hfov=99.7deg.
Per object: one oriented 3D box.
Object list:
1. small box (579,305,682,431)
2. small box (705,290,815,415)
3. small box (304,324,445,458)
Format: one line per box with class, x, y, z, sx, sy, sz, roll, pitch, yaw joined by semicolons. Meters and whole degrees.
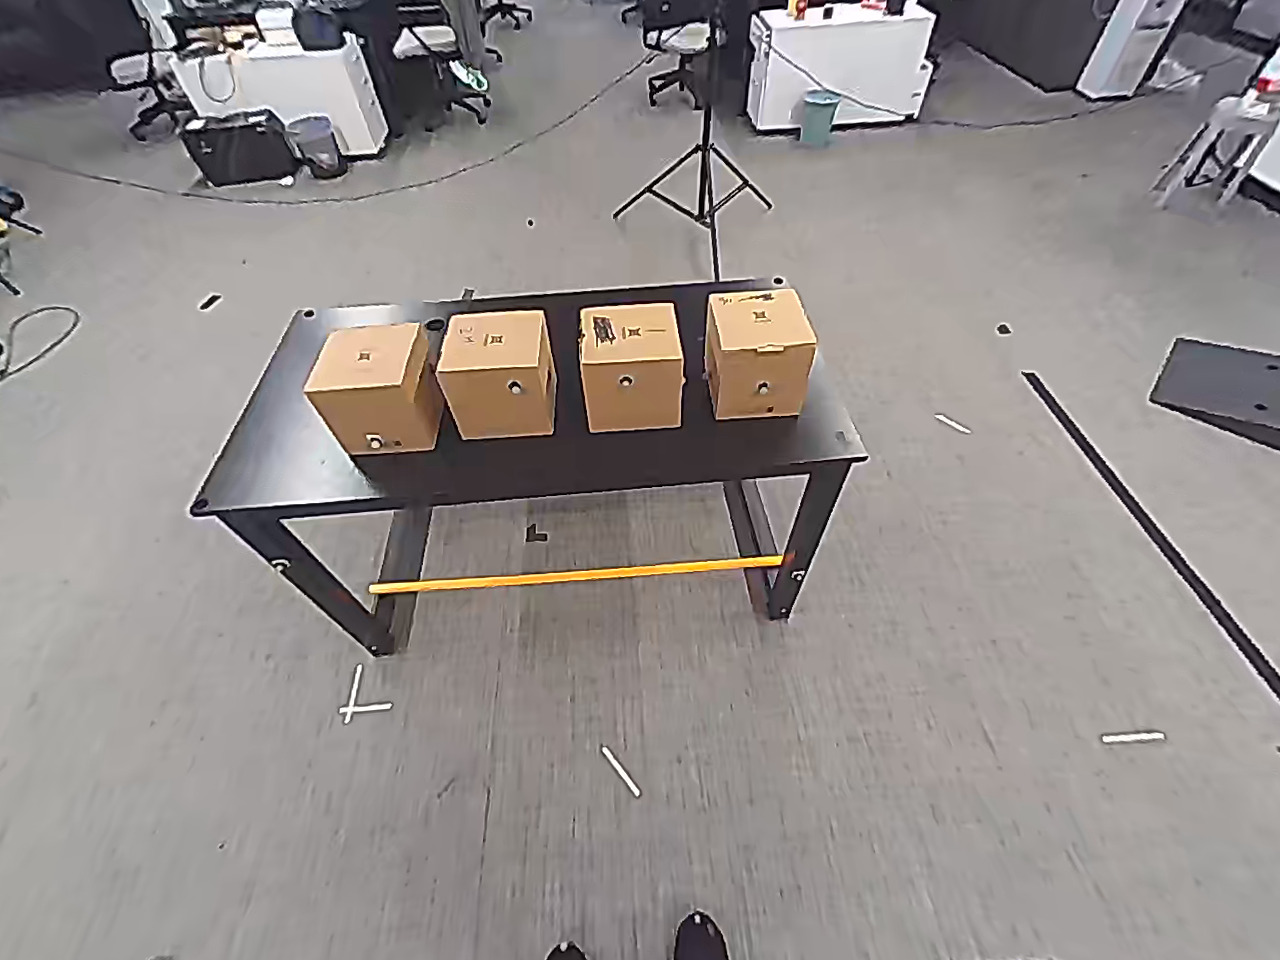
small box;-0.017;-0.207;1.018;0.179;0.176;0.168;-4;51;-2
small box;0.218;-0.236;1.030;0.168;0.176;0.179;-3;51;-1
small box;-0.475;-0.164;1.004;0.168;0.176;0.179;-6;52;-1
